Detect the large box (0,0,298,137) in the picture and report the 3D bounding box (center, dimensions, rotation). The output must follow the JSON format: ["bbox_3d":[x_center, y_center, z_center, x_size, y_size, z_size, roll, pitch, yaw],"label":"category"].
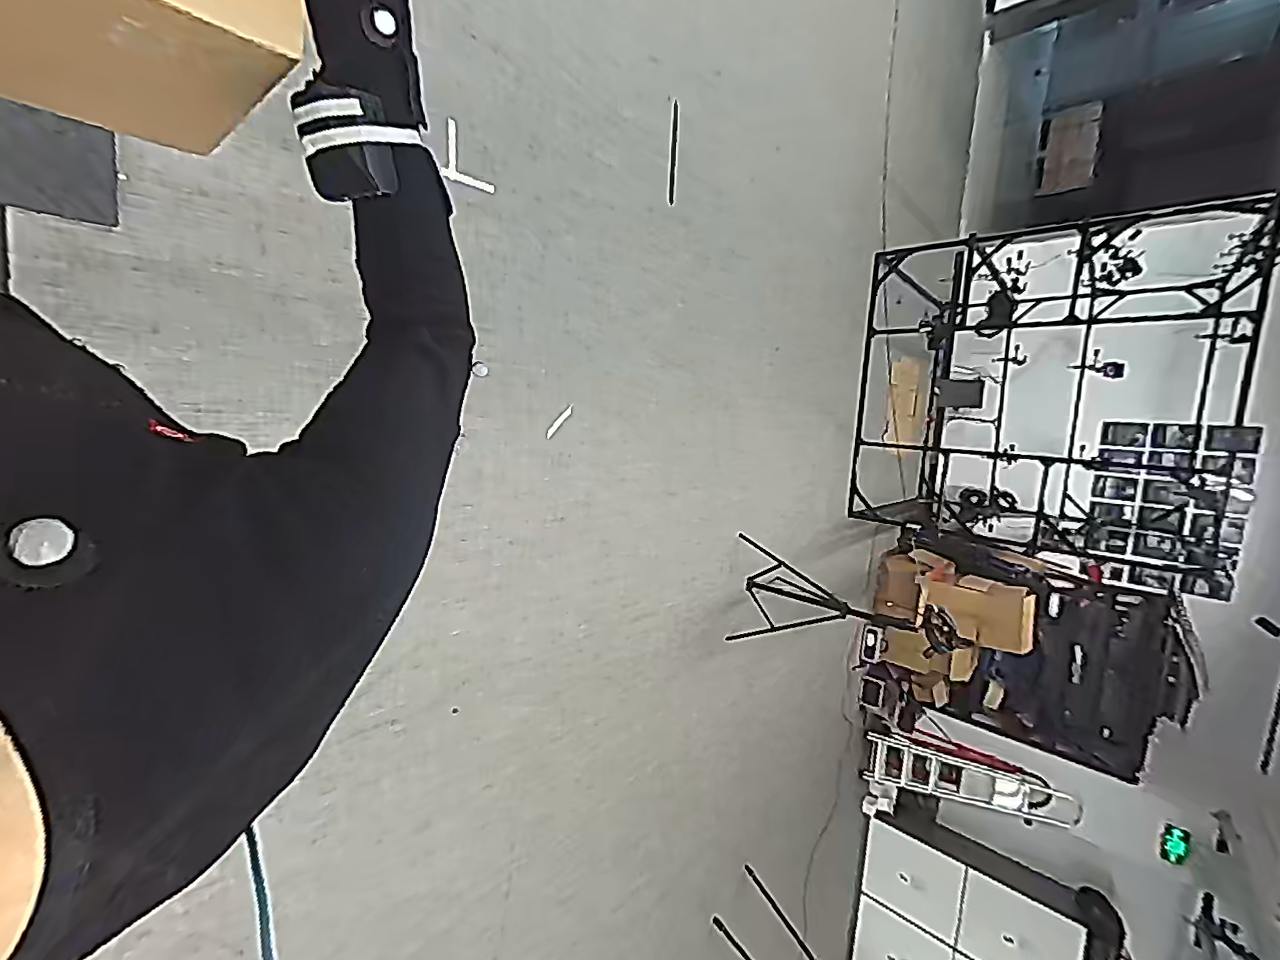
[{"bbox_3d":[-0.453,-0.443,0.274,0.408,0.320,0.320,-6,106,-48],"label":"large box"}]

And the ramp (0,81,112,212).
[{"bbox_3d":[-1.085,-0.971,0.746,0.509,0.206,0.991,-8,104,-50],"label":"ramp"}]
